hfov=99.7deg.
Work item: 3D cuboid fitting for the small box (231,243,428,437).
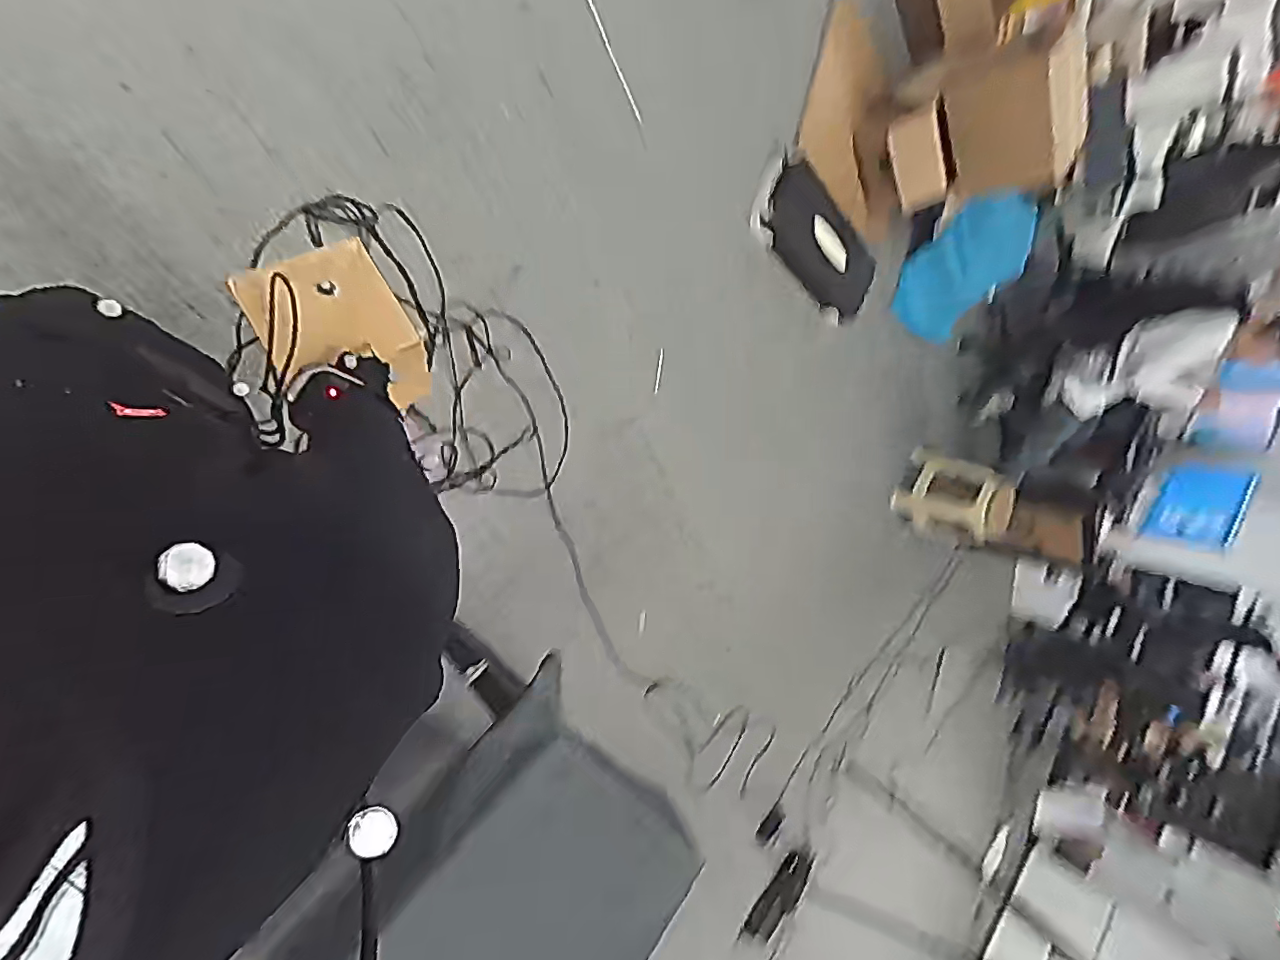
[{"bbox_3d":[-0.415,-0.189,0.750,0.168,0.179,0.176,-31,86,-23],"label":"small box"}]
